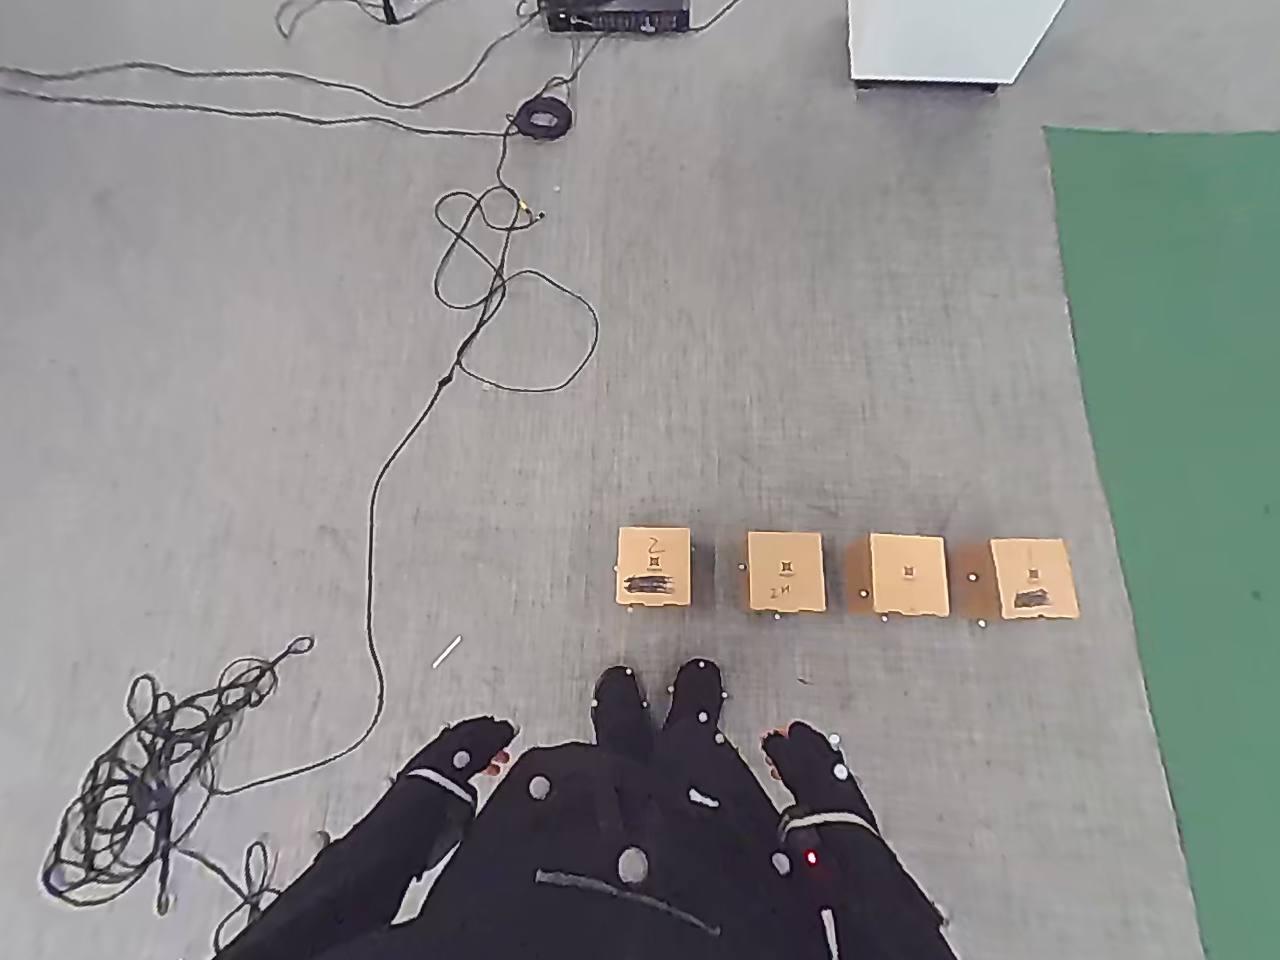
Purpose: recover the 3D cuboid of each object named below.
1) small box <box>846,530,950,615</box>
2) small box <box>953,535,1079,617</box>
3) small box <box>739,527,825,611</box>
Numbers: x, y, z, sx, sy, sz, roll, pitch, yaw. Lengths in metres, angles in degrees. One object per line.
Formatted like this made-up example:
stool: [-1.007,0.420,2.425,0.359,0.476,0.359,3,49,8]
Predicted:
small box: [0.595,0.221,1.269,0.168,0.176,0.179,3,75,2]
small box: [0.864,0.228,1.260,0.168,0.176,0.179,0,74,1]
small box: [0.327,0.214,1.274,0.168,0.176,0.179,1,75,3]
